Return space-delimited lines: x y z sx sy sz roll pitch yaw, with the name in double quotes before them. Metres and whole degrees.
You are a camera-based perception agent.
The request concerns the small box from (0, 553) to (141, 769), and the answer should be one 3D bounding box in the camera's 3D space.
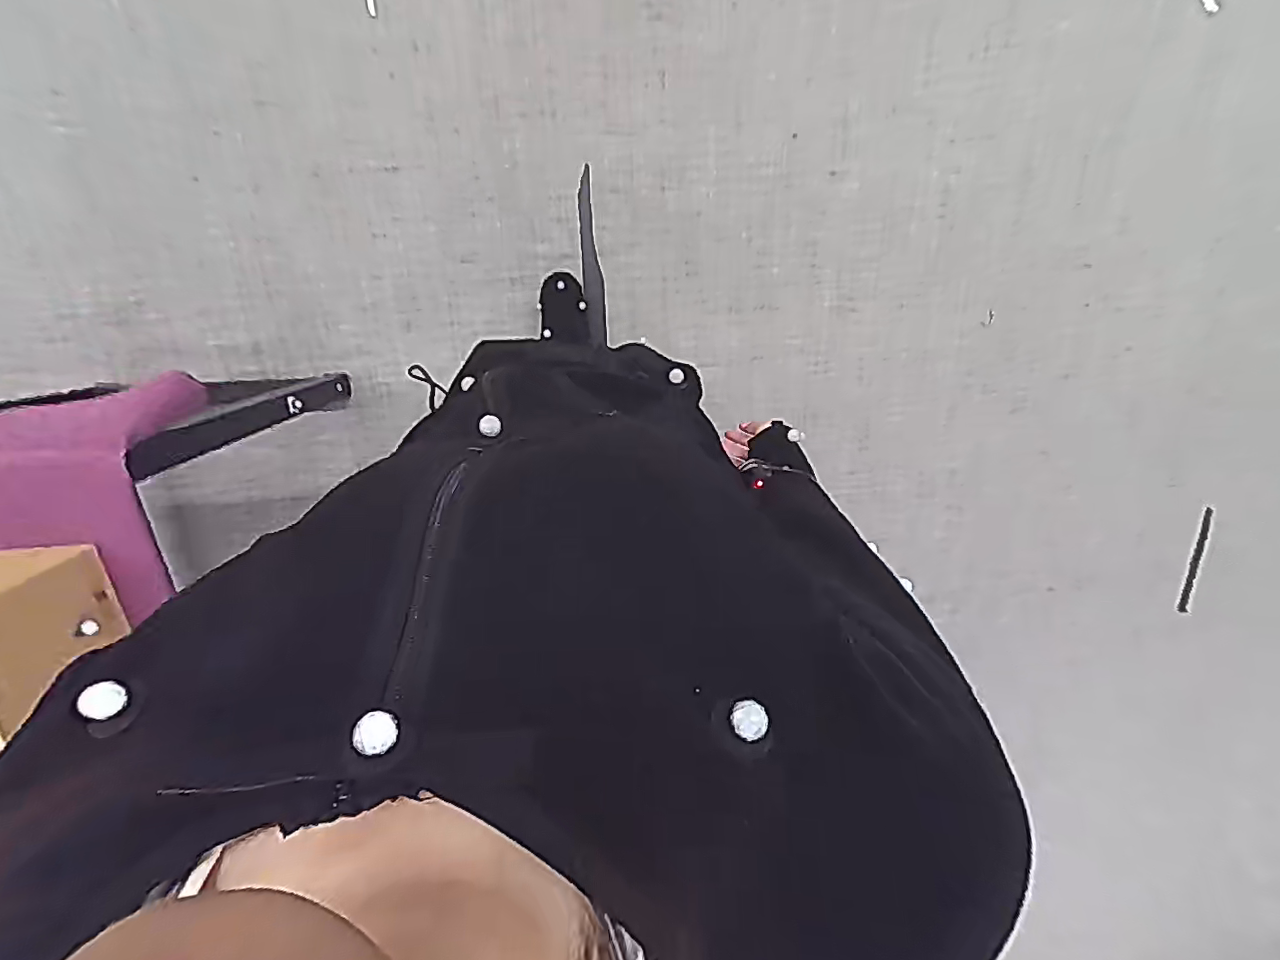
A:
"small box" -0.724 0.192 0.594 0.179 0.176 0.168 -4 110 -4
